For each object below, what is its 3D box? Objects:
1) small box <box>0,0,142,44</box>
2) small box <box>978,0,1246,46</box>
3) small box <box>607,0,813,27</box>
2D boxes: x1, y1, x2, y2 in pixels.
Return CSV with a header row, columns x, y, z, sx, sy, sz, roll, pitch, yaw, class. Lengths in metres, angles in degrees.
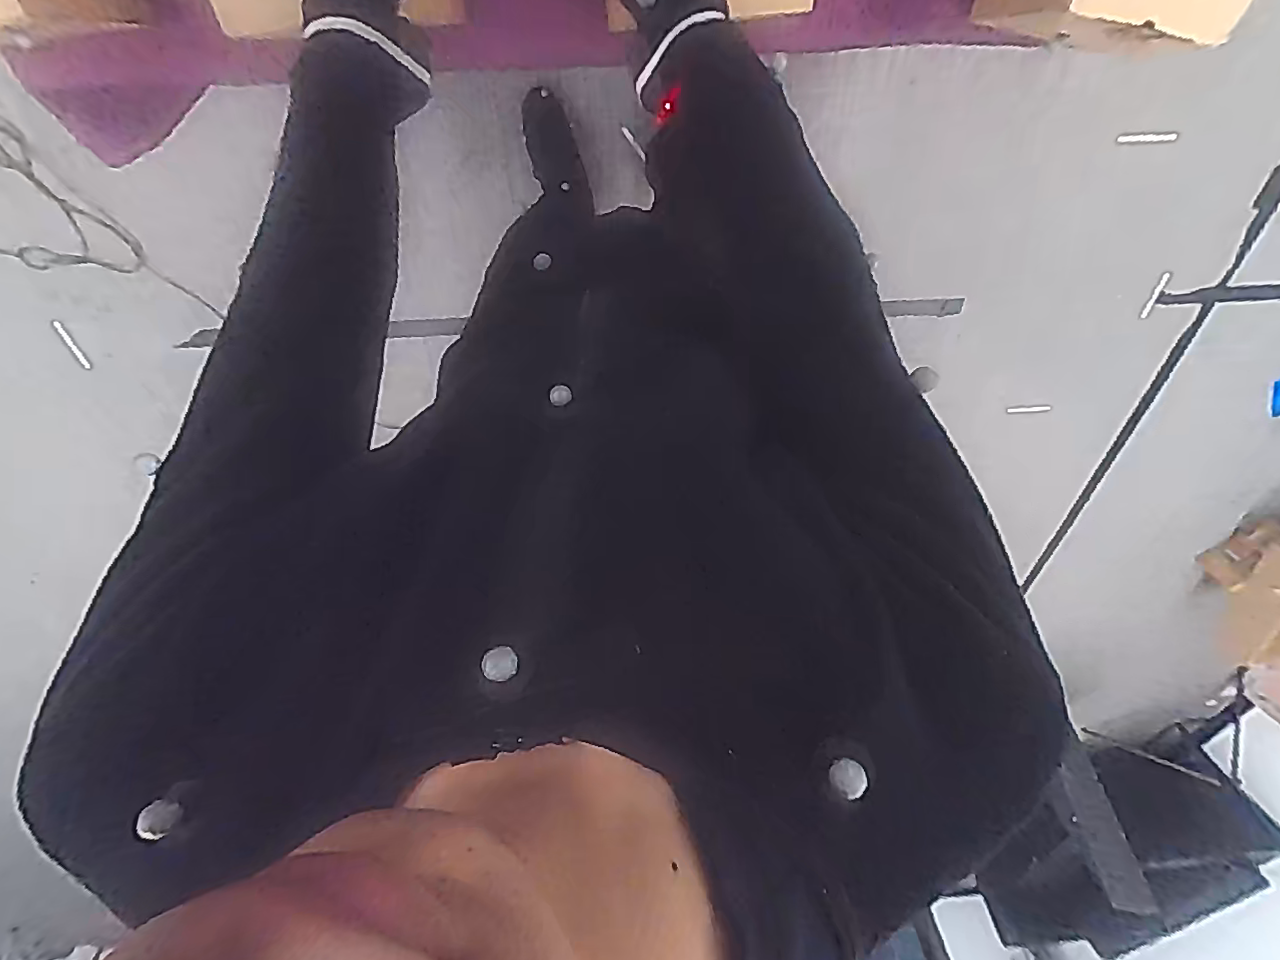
x,y,z,sx,sy,sz,roll,pitch,yaw,class
-0.590,-0.473,0.445,0.179,0.176,0.168,-8,129,0,small box
0.457,-0.523,0.494,0.168,0.176,0.179,5,128,-8,small box
0.052,-0.510,0.466,0.168,0.176,0.179,-7,130,-4,small box
